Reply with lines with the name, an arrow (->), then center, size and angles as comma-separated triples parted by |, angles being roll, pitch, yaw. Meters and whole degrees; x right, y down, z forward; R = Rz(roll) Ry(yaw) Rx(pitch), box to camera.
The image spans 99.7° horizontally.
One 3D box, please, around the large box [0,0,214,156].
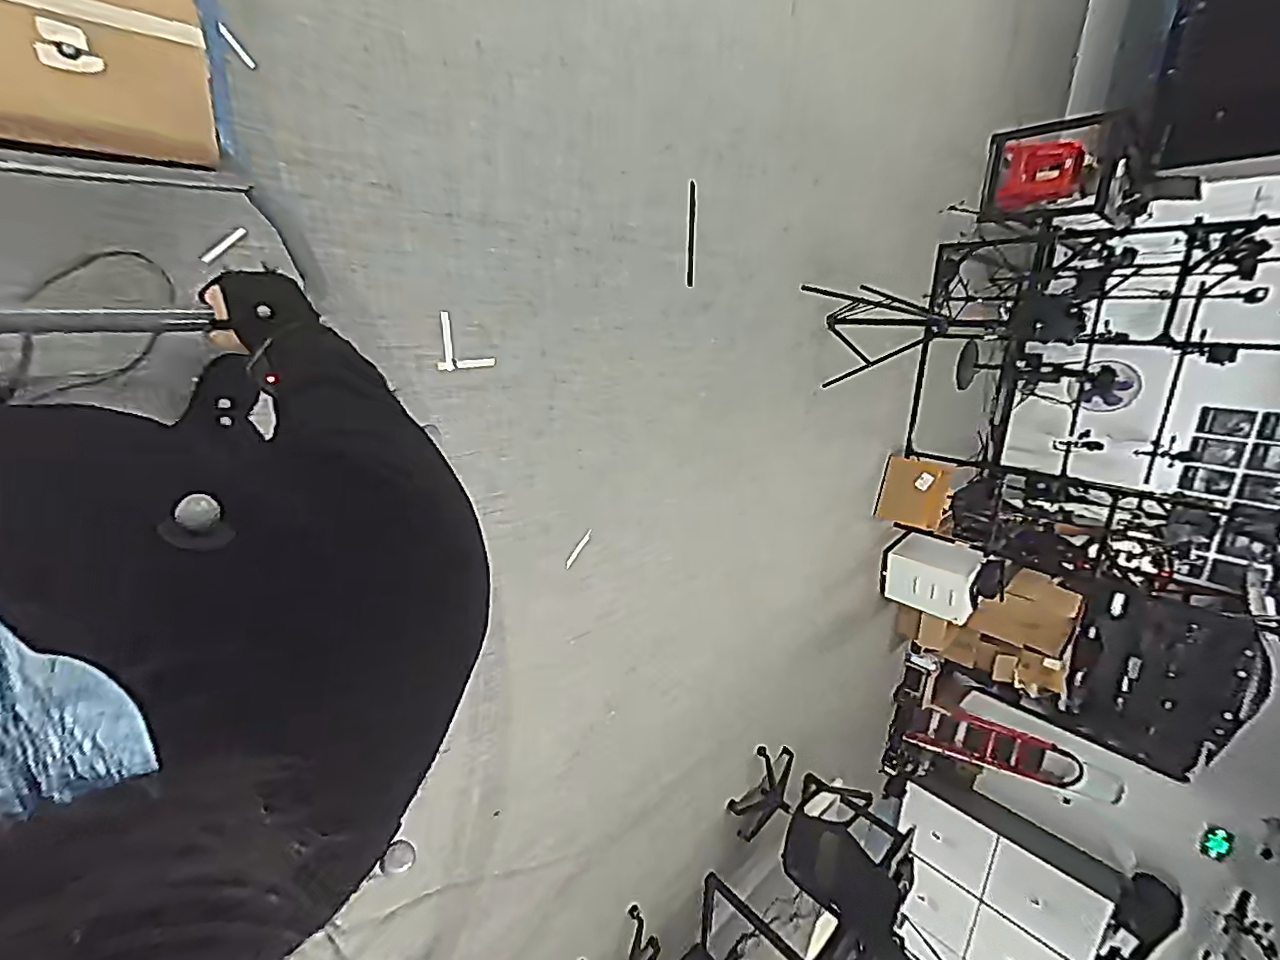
large box -> -0.842, -0.636, 0.675 | 0.408, 0.320, 0.320 | -18, 135, -42
